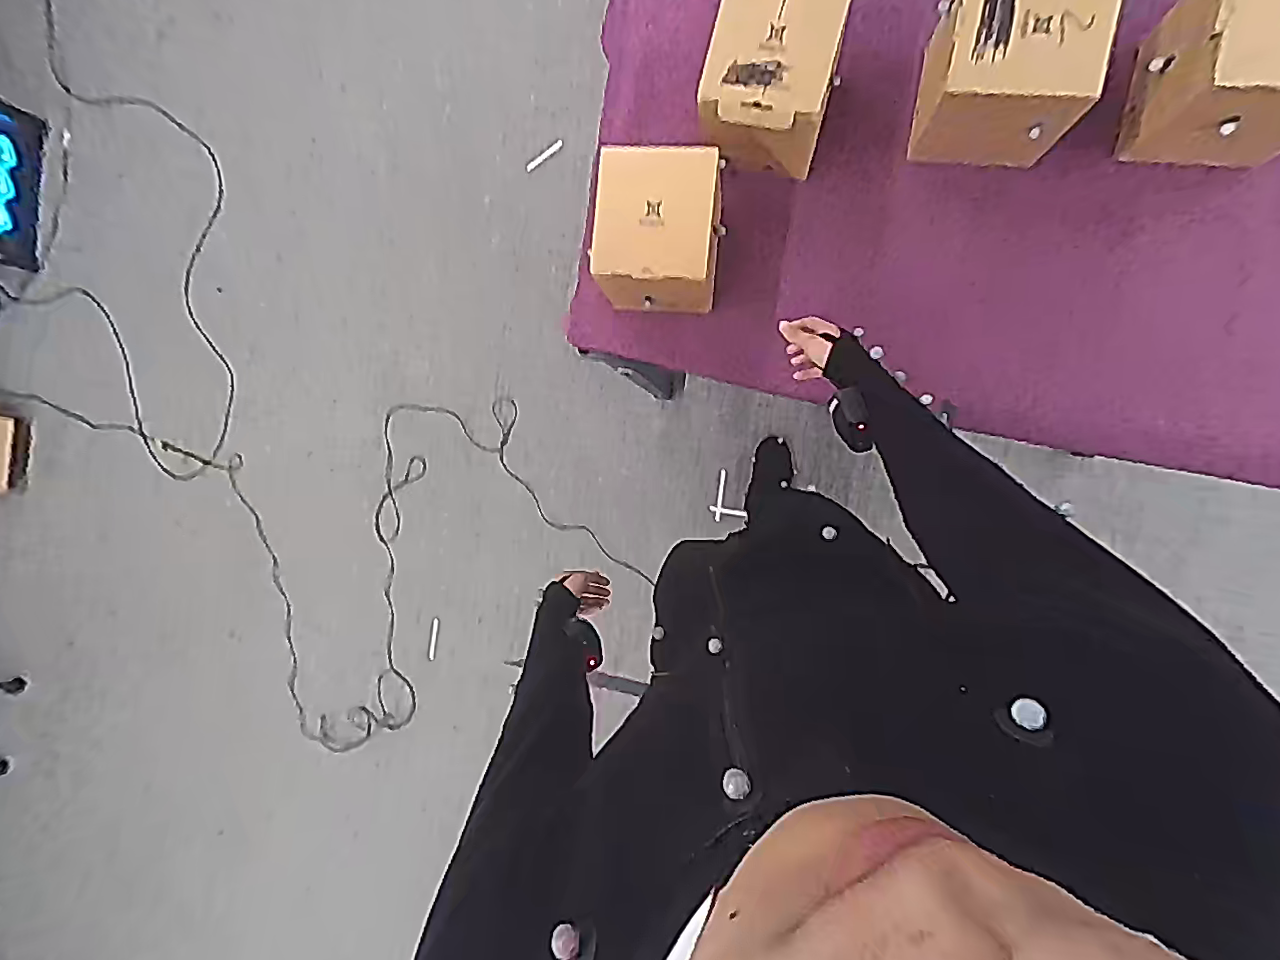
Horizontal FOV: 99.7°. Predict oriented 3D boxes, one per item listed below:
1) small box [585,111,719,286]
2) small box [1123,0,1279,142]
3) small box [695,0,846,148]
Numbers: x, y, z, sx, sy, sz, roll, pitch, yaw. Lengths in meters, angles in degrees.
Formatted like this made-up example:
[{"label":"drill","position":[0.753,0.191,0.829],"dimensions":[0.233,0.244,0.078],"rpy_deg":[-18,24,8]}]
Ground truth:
[{"label":"small box","position":[0.024,-0.405,0.799],"dimensions":[0.168,0.176,0.179],"rpy_deg":[7,95,8]},{"label":"small box","position":[0.753,-0.542,0.658],"dimensions":[0.179,0.176,0.168],"rpy_deg":[11,97,11]},{"label":"small box","position":[0.186,-0.607,0.761],"dimensions":[0.168,0.176,0.179],"rpy_deg":[16,96,9]}]
